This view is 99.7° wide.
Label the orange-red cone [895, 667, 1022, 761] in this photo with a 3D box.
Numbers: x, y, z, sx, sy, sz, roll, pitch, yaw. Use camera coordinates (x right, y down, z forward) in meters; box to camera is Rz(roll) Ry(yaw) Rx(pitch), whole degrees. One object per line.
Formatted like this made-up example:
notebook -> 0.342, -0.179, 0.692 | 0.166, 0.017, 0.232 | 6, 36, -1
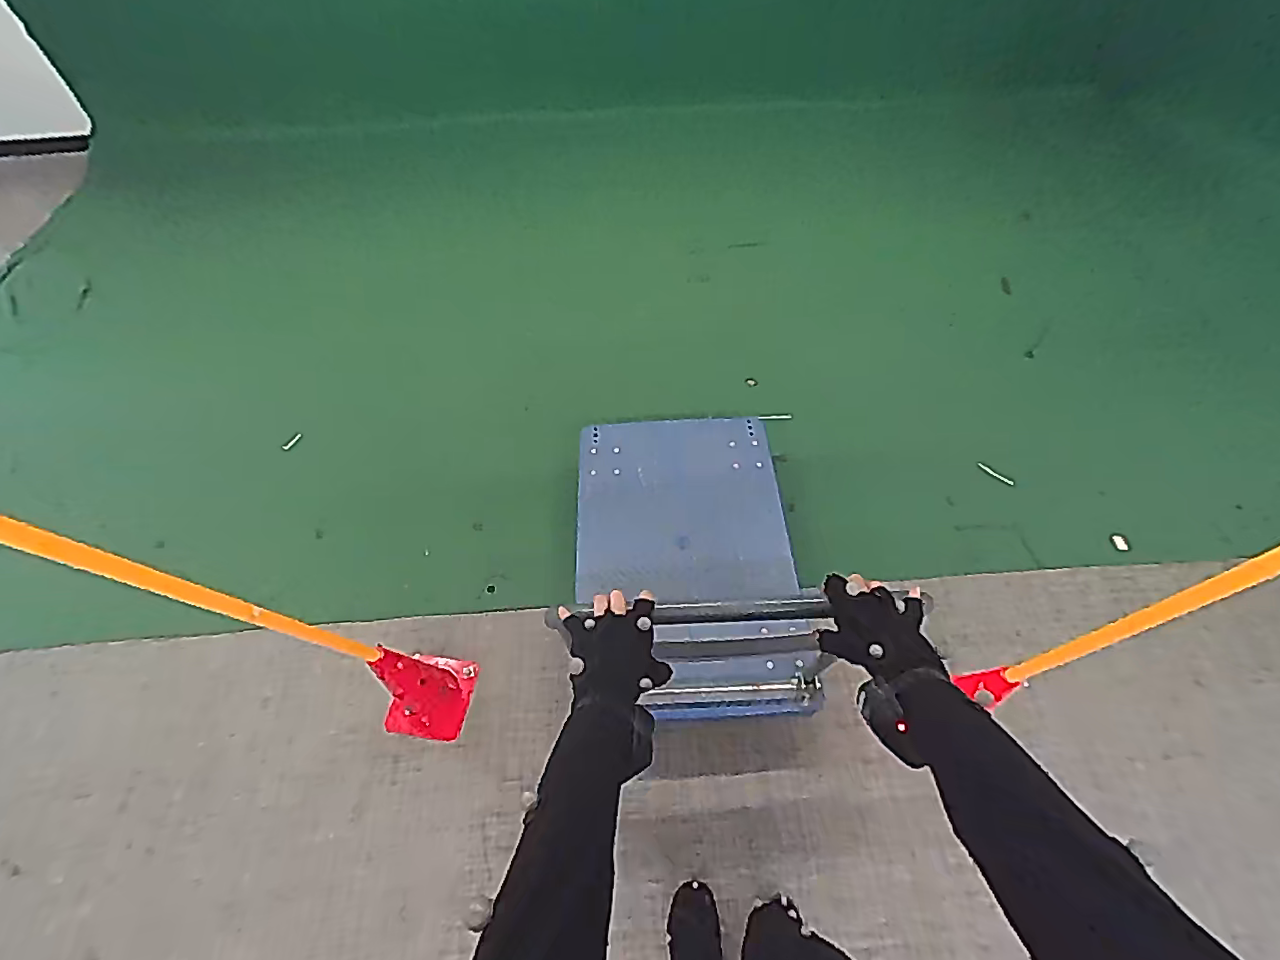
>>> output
orange-red cone -> 0.746, 0.491, 1.216 | 0.198, 0.360, 0.199 | 5, 56, 6
